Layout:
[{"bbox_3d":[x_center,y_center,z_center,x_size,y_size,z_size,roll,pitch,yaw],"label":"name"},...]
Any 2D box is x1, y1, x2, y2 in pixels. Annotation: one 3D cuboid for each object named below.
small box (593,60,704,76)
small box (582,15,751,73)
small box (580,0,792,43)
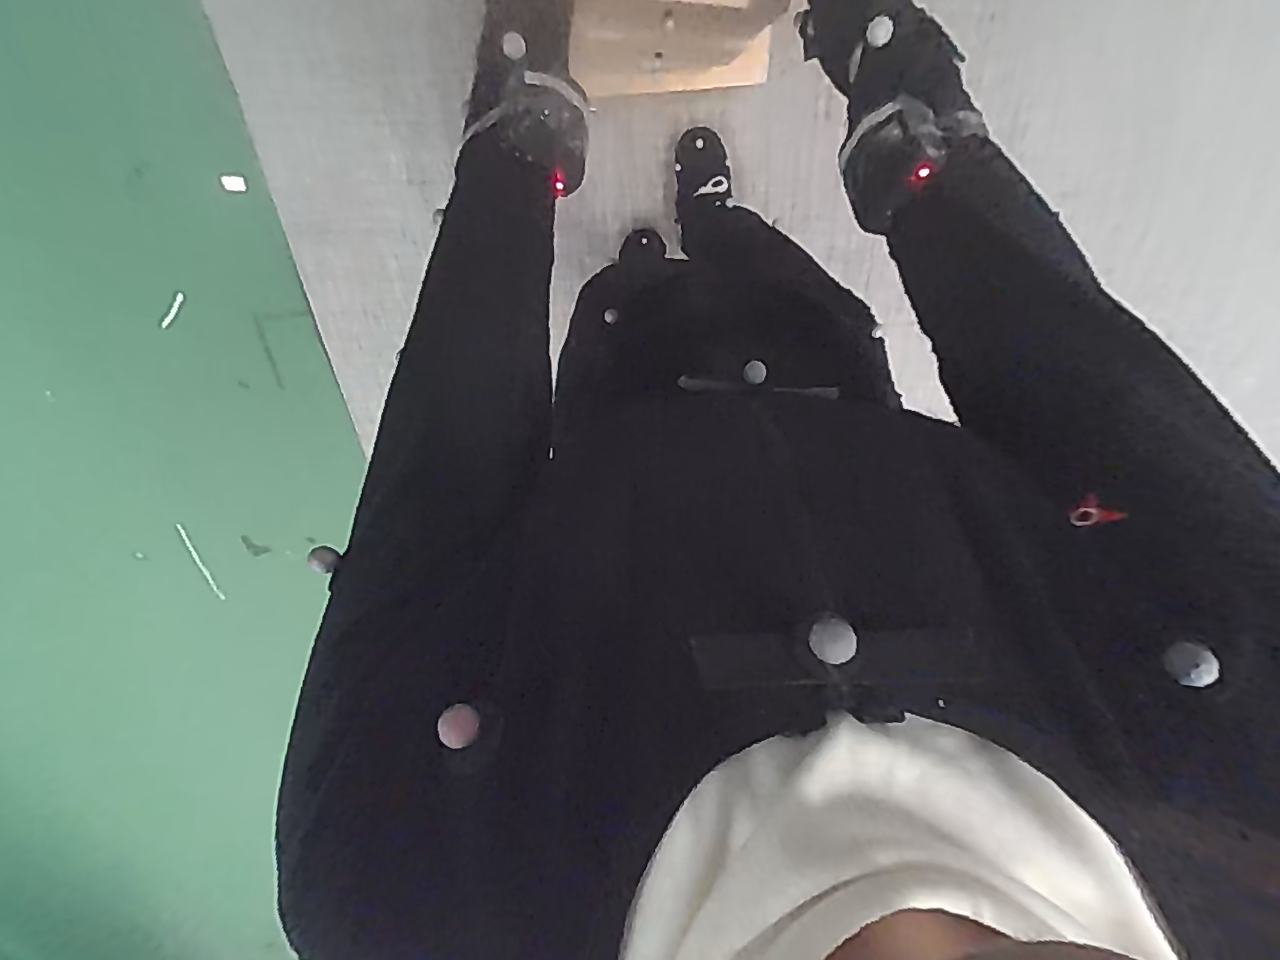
[{"bbox_3d":[0.021,-0.652,0.723,0.168,0.176,0.179,-1,123,1],"label":"small box"},{"bbox_3d":[0.030,-0.556,0.588,0.179,0.176,0.168,2,122,0],"label":"small box"},{"bbox_3d":[0.035,-0.480,0.447,0.179,0.176,0.168,1,123,-3],"label":"small box"}]
